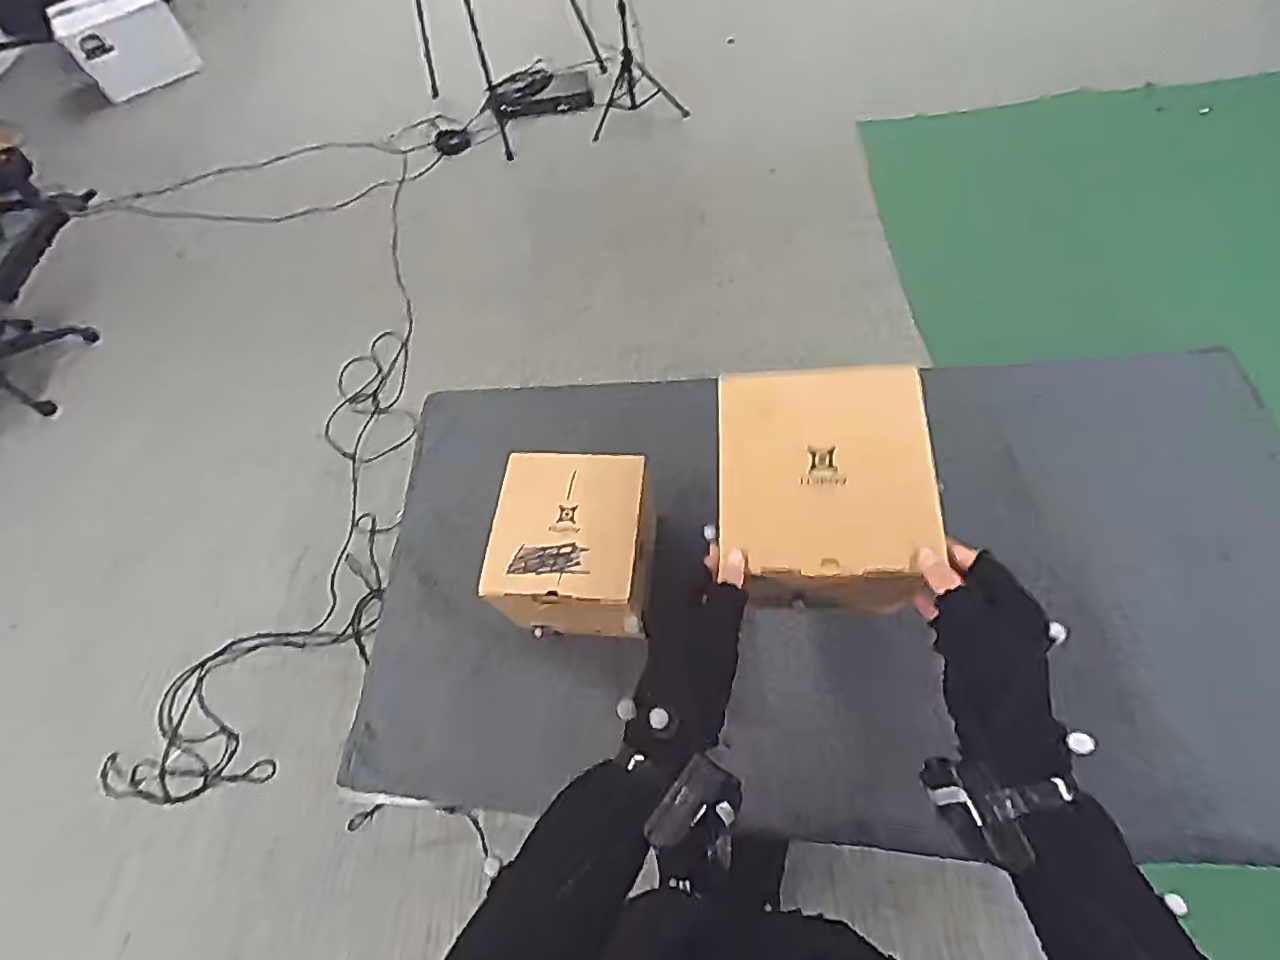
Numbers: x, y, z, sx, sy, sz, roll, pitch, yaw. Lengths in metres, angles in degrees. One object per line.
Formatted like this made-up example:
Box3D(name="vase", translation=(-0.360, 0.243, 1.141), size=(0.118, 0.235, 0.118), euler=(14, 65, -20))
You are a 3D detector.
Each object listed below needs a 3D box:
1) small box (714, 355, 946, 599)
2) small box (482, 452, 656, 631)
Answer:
Box3D(name="small box", translation=(0.154, 0.009, 0.500), size=(0.168, 0.176, 0.179), euler=(-3, 69, 10))
Box3D(name="small box", translation=(-0.072, 0.082, 0.674), size=(0.168, 0.176, 0.179), euler=(2, 62, 8))
